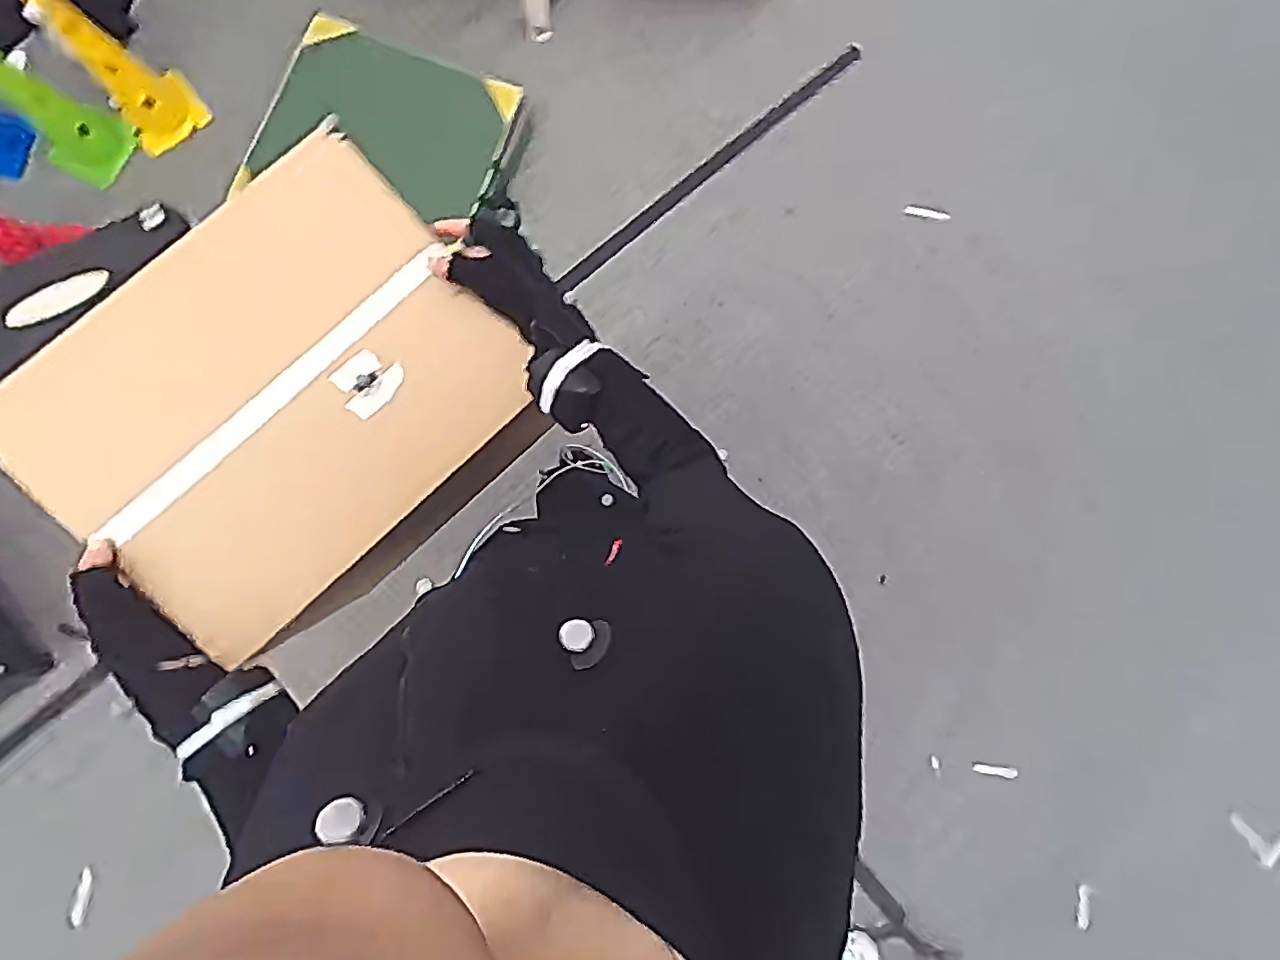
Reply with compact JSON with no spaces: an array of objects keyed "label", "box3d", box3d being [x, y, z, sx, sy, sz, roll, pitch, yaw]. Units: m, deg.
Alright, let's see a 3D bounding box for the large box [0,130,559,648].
[{"label":"large box","box3d":[-0.344,-0.085,0.651,0.408,0.320,0.320,-43,96,-6]}]
